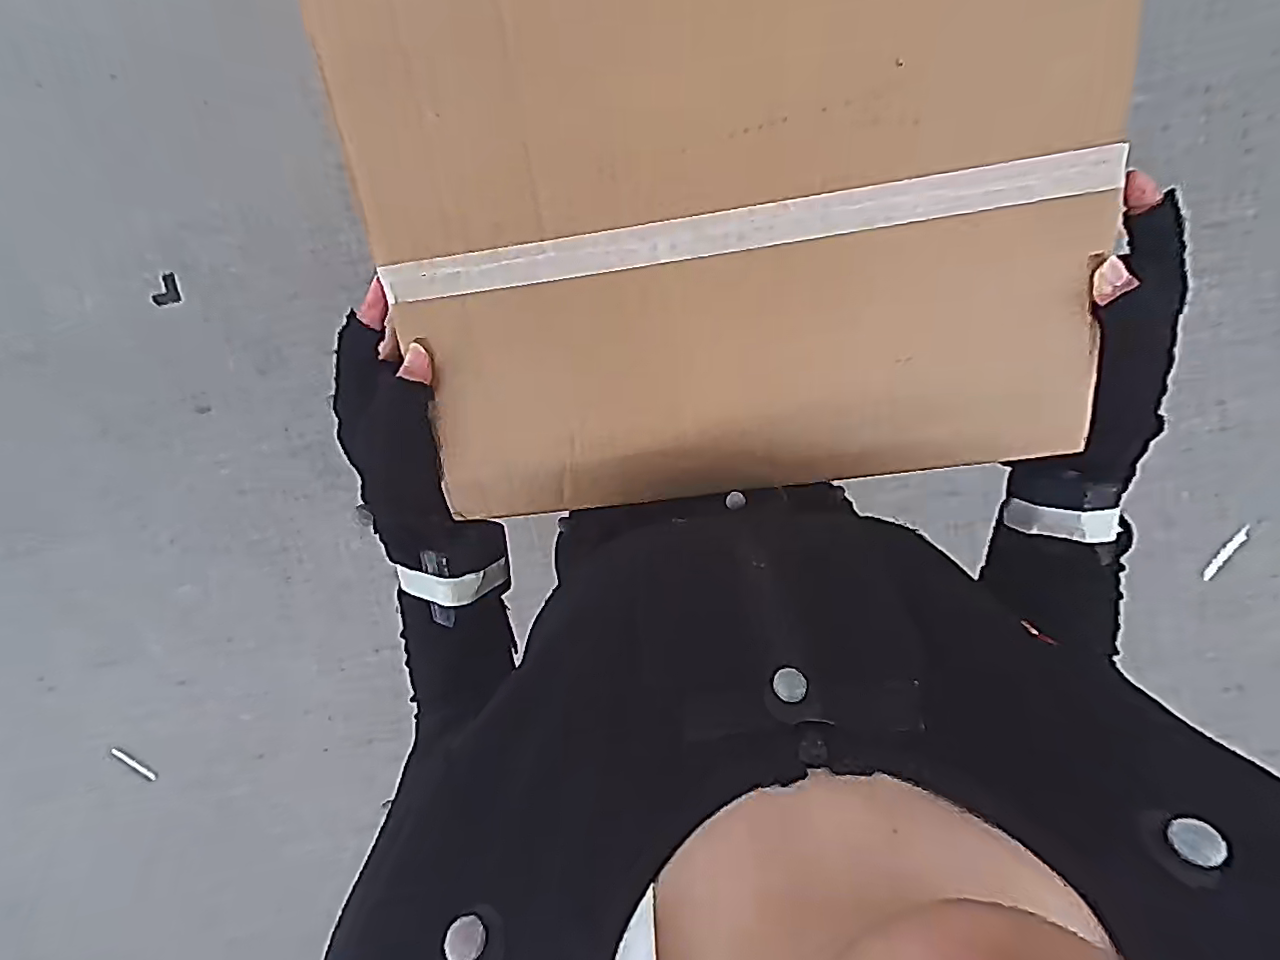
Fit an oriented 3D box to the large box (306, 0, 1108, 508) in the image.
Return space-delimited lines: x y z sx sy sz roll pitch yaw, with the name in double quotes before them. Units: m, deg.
"large box" 0.051 -0.200 0.447 0.408 0.320 0.320 -7 110 5
